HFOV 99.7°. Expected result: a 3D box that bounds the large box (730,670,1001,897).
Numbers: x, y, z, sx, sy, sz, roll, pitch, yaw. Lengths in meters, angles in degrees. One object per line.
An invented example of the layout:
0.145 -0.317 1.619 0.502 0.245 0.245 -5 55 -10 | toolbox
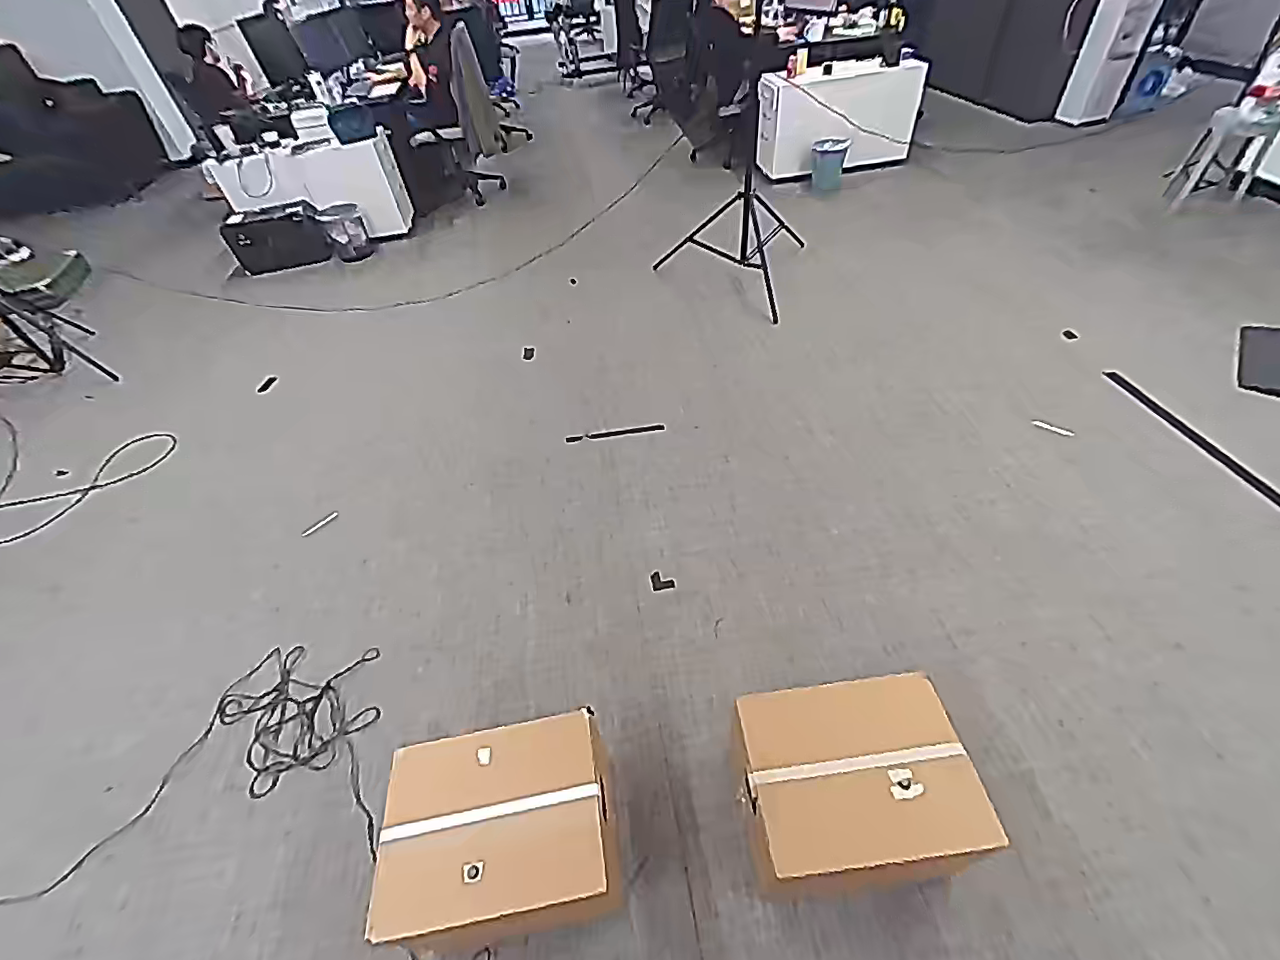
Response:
0.423 0.638 1.135 0.408 0.320 0.320 -7 46 -1 | large box
